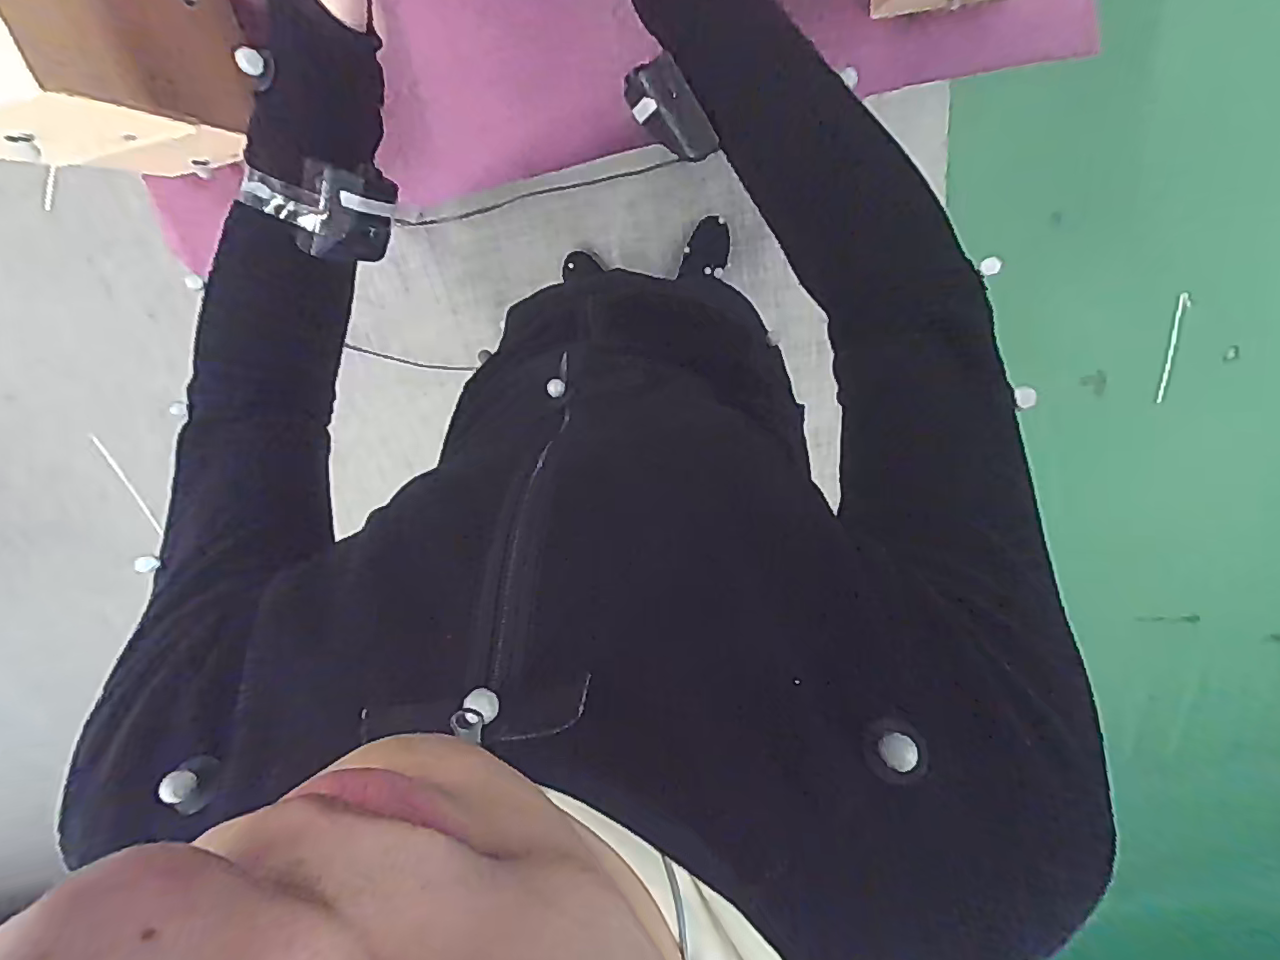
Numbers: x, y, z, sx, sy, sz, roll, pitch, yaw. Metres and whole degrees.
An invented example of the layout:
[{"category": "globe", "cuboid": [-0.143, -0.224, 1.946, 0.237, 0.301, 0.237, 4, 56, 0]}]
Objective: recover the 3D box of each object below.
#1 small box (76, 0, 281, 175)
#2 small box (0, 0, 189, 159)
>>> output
[{"category": "small box", "cuboid": [-0.554, -0.460, 0.599, 0.168, 0.176, 0.179, -11, 114, 5]}, {"category": "small box", "cuboid": [-0.547, -0.387, 0.455, 0.168, 0.176, 0.179, -10, 113, 5]}]
